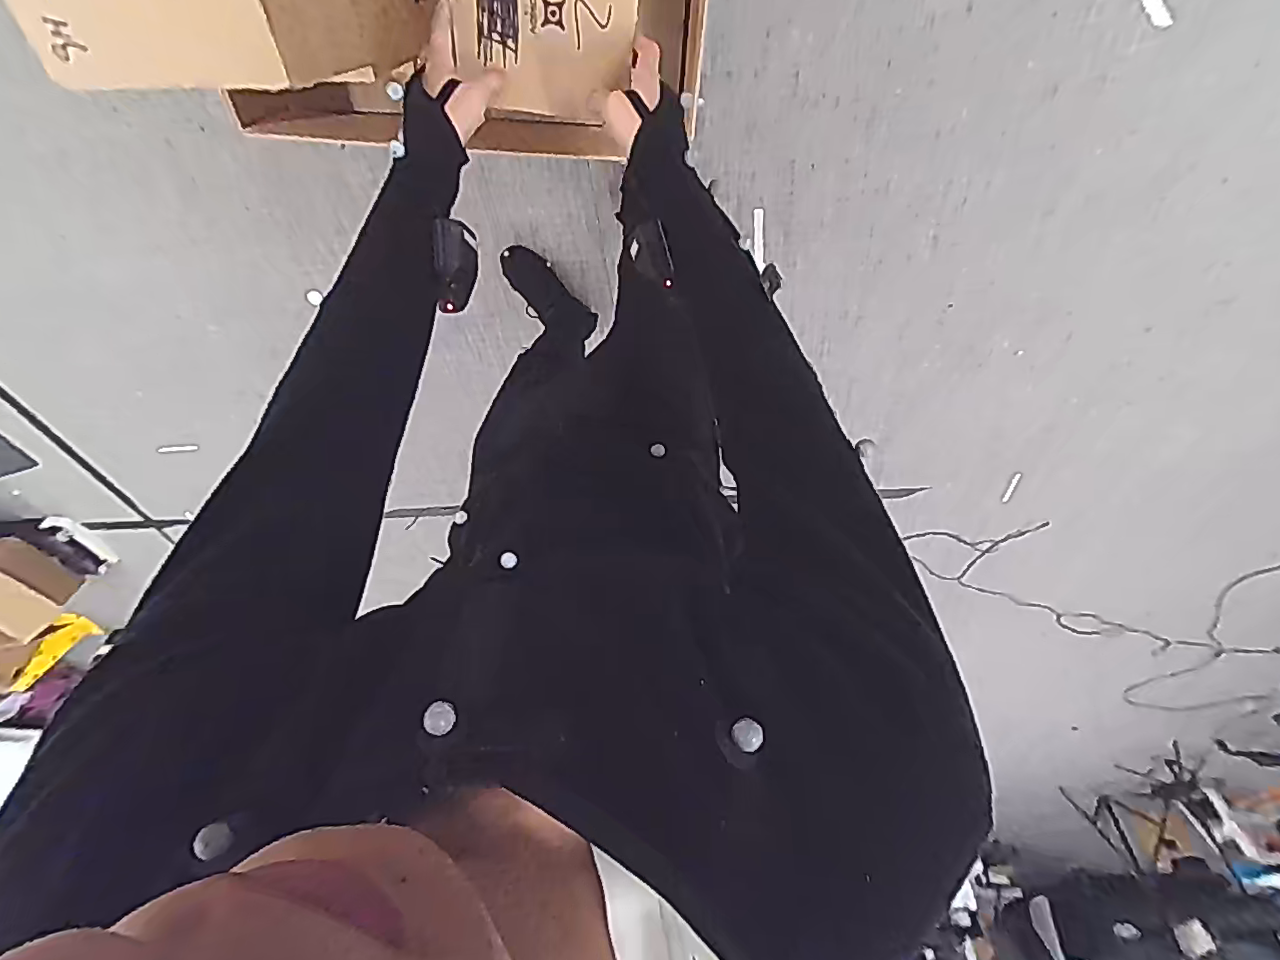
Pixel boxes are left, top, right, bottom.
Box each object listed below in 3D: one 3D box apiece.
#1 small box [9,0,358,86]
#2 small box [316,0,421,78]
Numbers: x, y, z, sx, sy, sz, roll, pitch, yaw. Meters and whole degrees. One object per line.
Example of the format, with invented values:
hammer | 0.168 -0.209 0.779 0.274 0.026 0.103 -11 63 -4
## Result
small box | -0.333 -0.401 0.392 0.179 0.176 0.168 0 133 0
small box | -0.331 -0.508 0.517 0.168 0.176 0.179 1 134 0
